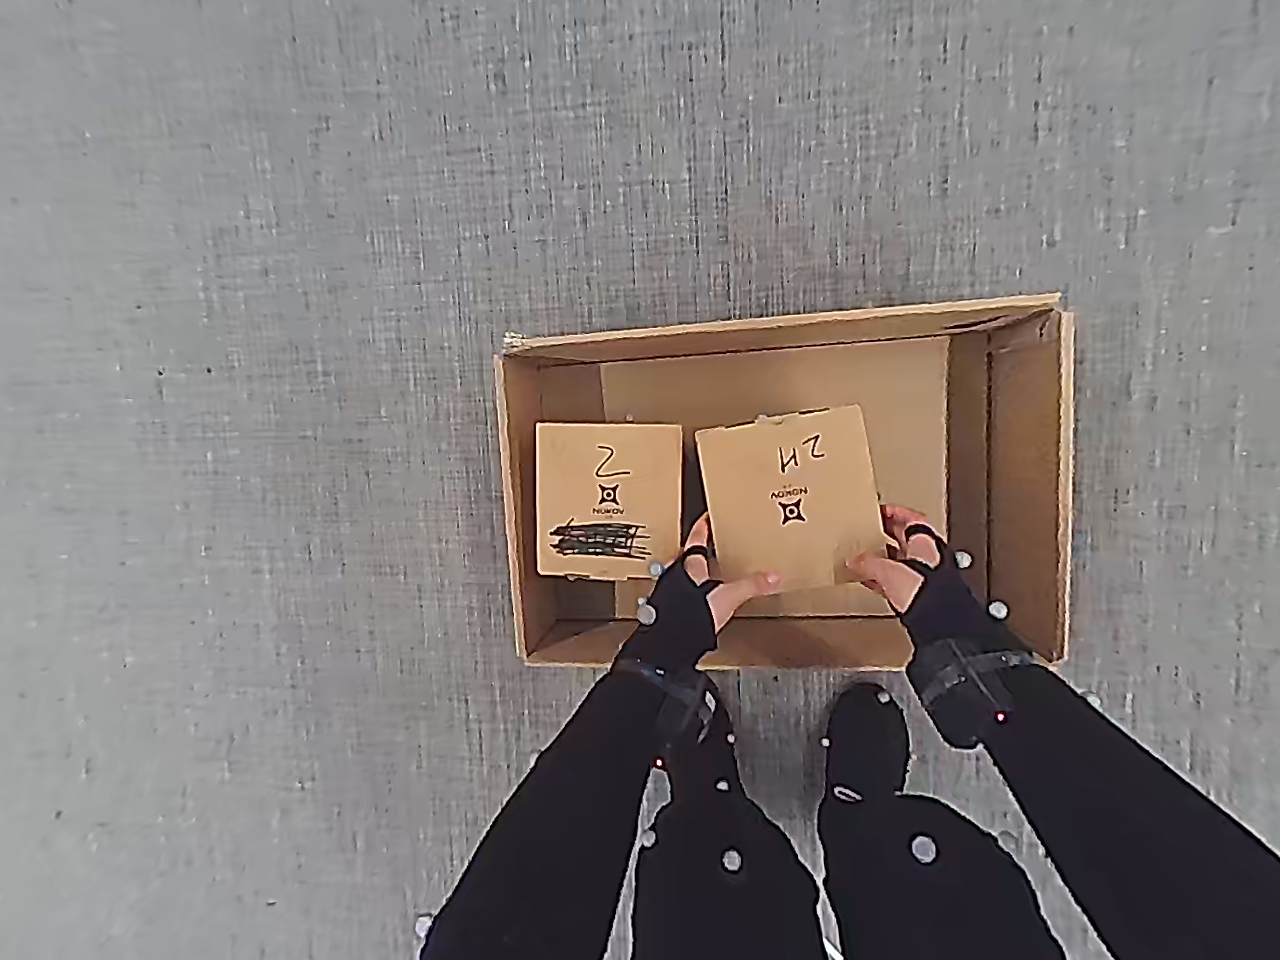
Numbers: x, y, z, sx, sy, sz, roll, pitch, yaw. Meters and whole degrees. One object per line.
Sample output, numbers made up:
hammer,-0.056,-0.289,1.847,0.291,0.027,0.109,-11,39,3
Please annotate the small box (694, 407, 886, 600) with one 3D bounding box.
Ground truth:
small box,0.156,0.024,0.613,0.168,0.176,0.179,-9,88,6
